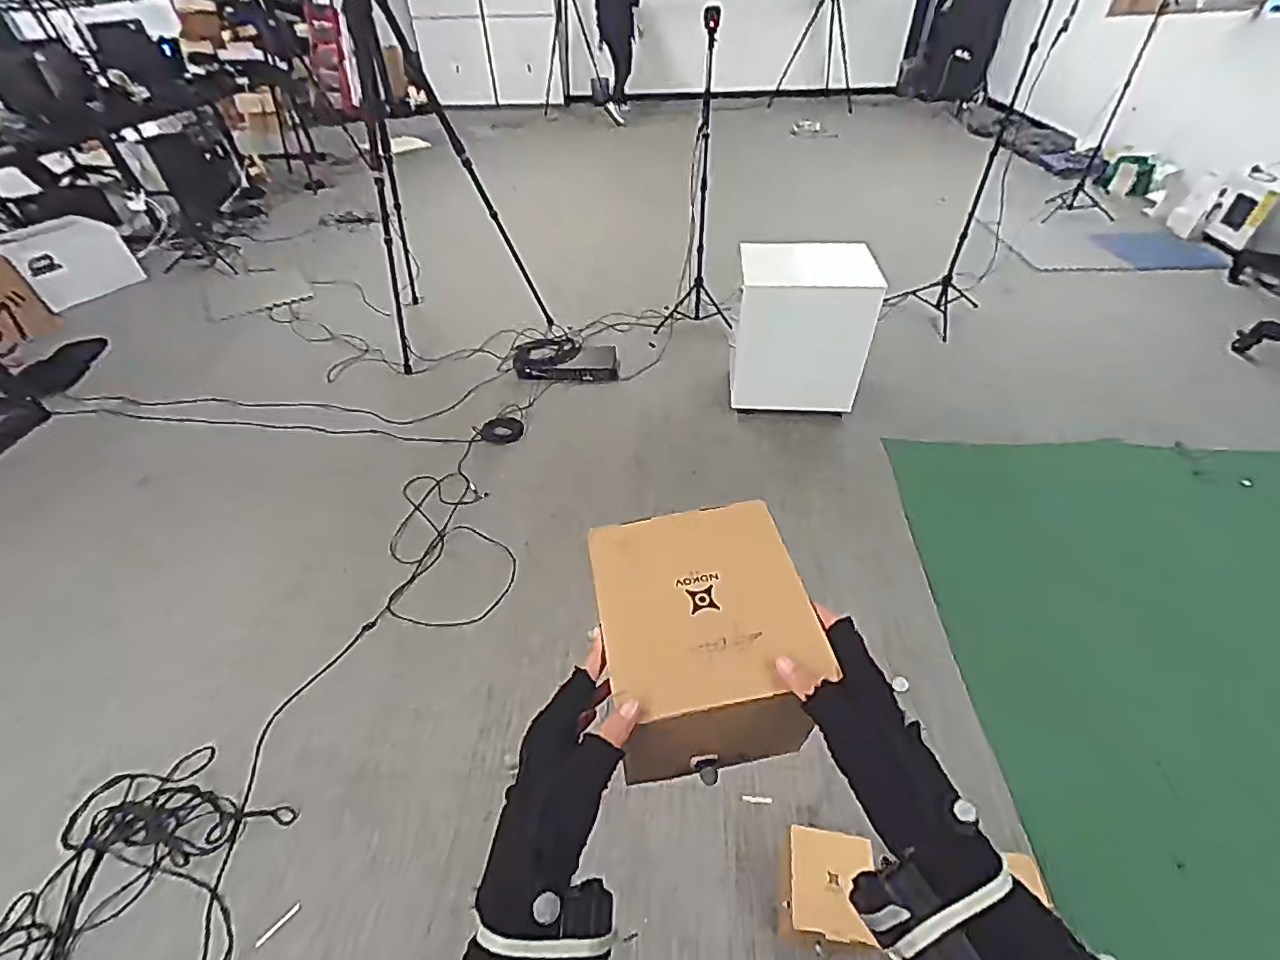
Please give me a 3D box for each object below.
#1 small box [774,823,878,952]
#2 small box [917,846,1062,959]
[{"bbox_3d":[0.376,0.850,1.127,0.168,0.176,0.179,6,45,7],"label":"small box"},{"bbox_3d":[0.693,0.872,1.097,0.168,0.176,0.179,3,44,4],"label":"small box"}]
